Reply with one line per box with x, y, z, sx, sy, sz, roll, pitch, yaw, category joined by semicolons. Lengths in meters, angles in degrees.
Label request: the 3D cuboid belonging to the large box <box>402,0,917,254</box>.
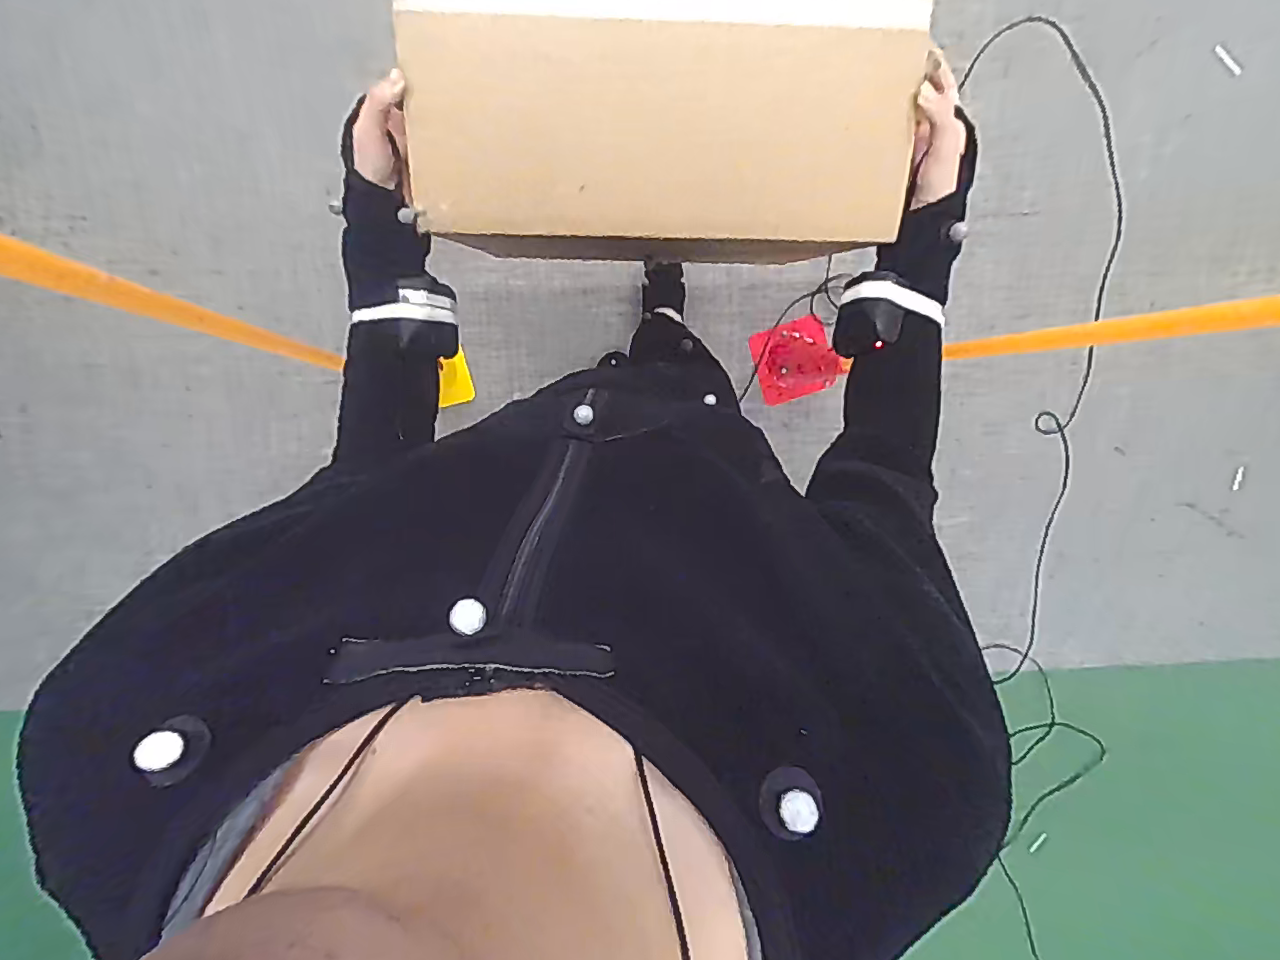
0.013;-0.406;0.558;0.408;0.320;0.320;0;109;-2;large box
